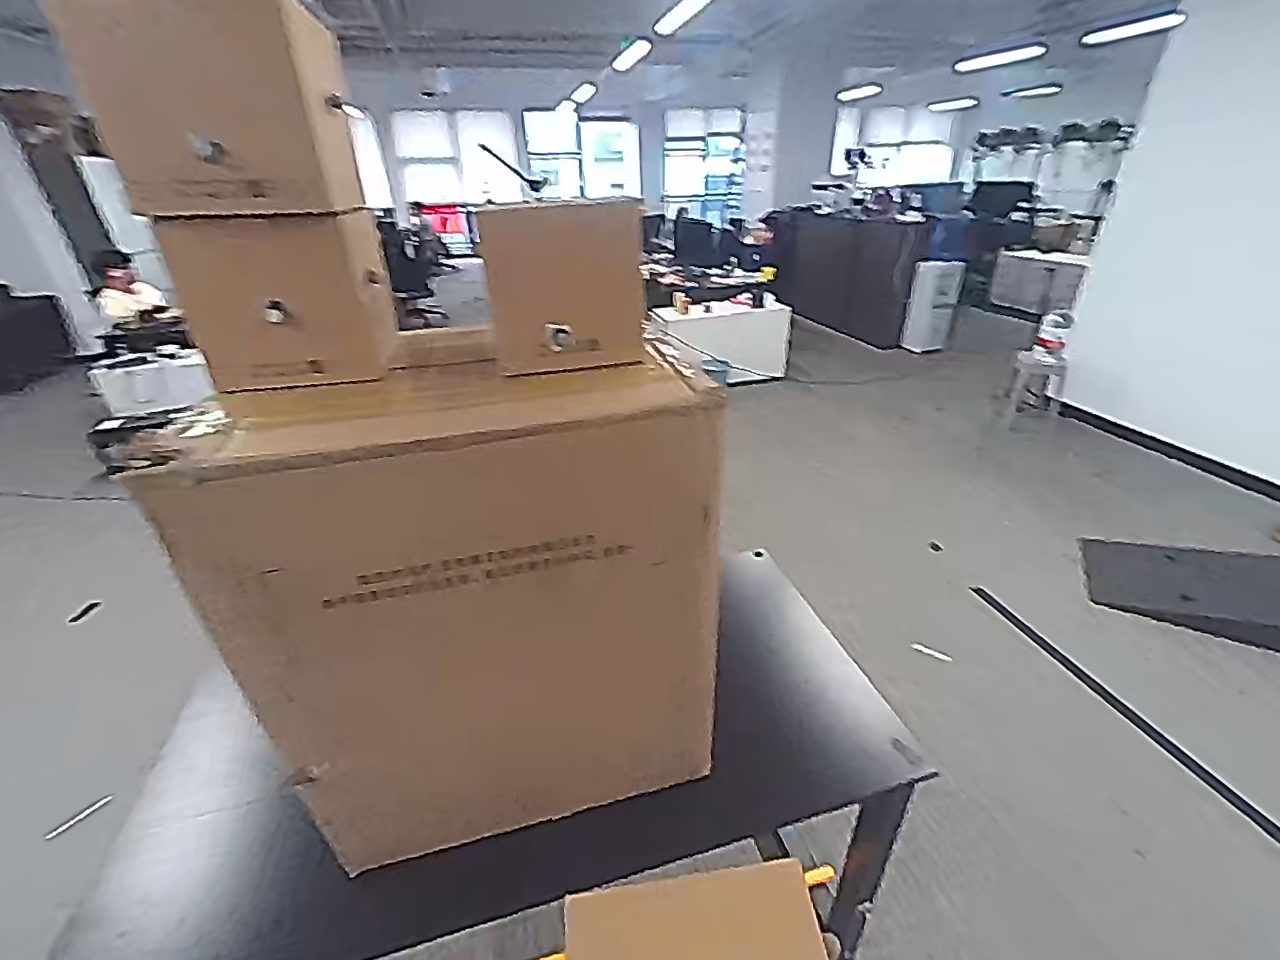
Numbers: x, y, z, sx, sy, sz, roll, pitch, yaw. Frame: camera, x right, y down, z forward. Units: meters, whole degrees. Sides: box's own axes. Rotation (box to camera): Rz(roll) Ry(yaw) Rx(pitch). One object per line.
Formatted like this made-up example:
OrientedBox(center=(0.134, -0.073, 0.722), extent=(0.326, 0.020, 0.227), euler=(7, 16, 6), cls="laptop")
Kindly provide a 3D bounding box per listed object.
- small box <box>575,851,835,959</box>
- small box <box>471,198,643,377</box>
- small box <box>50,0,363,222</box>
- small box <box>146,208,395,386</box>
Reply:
OrientedBox(center=(0.048, 0.384, 0.363), extent=(0.168, 0.176, 0.179), euler=(-7, 41, -1), cls="small box")
OrientedBox(center=(-0.096, -0.232, 0.639), extent=(0.168, 0.176, 0.179), euler=(-10, 30, -9), cls="small box")
OrientedBox(center=(-0.385, -0.347, 0.521), extent=(0.168, 0.176, 0.179), euler=(-8, 30, -12), cls="small box")
OrientedBox(center=(-0.389, -0.209, 0.614), extent=(0.168, 0.176, 0.179), euler=(-8, 30, -13), cls="small box")
